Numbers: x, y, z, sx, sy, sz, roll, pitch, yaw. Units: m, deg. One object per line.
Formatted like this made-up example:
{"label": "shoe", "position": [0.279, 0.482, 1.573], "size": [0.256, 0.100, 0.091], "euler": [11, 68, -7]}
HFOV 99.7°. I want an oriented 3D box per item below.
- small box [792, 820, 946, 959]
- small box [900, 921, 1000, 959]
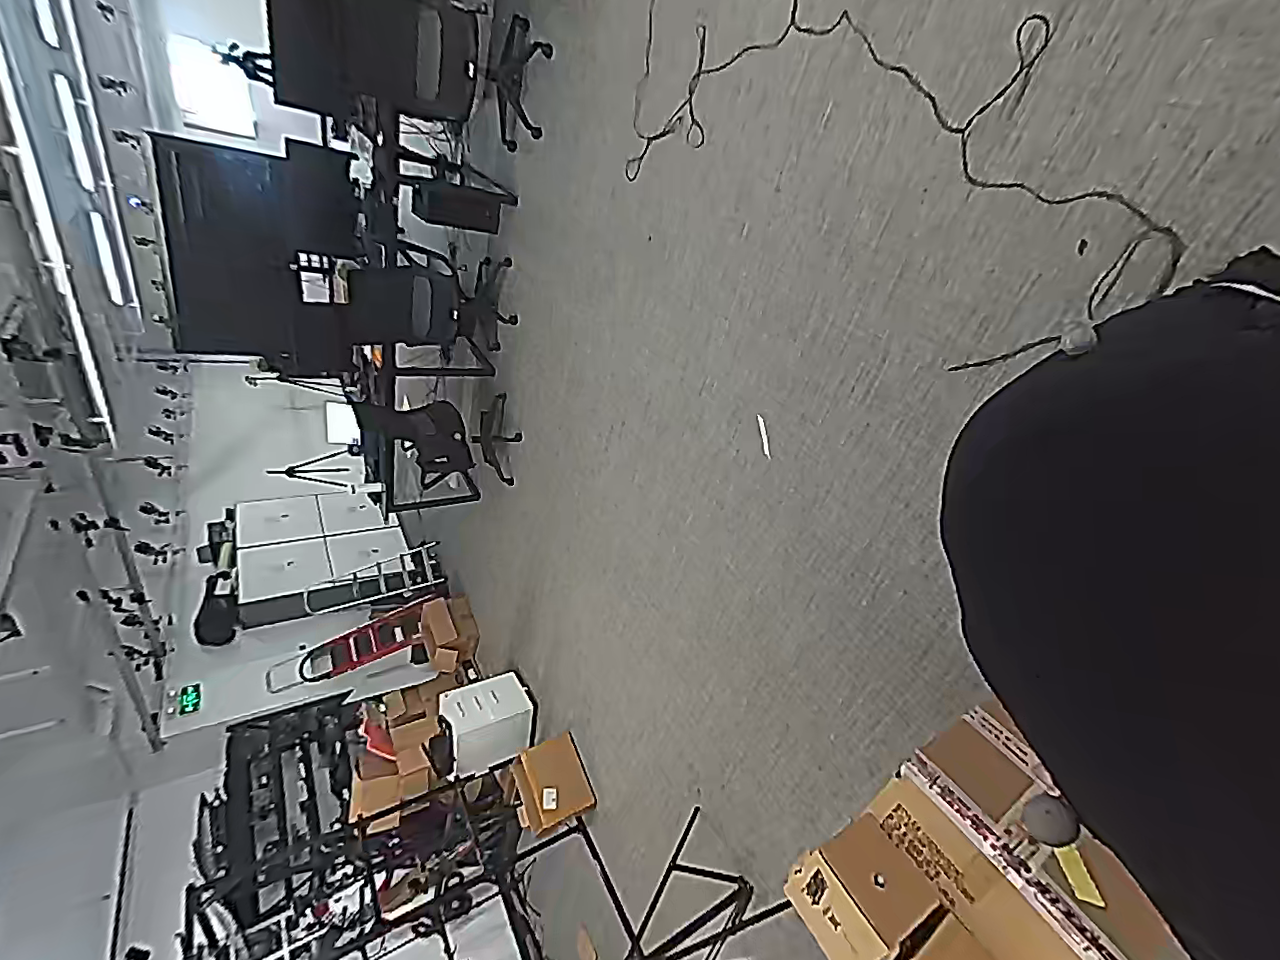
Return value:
{"label": "small box", "position": [0.438, 0.796, 1.044], "size": [0.179, 0.176, 0.168], "euler": [49, 132, 42]}
{"label": "small box", "position": [0.535, 0.899, 0.915], "size": [0.179, 0.176, 0.168], "euler": [47, 132, 39]}
